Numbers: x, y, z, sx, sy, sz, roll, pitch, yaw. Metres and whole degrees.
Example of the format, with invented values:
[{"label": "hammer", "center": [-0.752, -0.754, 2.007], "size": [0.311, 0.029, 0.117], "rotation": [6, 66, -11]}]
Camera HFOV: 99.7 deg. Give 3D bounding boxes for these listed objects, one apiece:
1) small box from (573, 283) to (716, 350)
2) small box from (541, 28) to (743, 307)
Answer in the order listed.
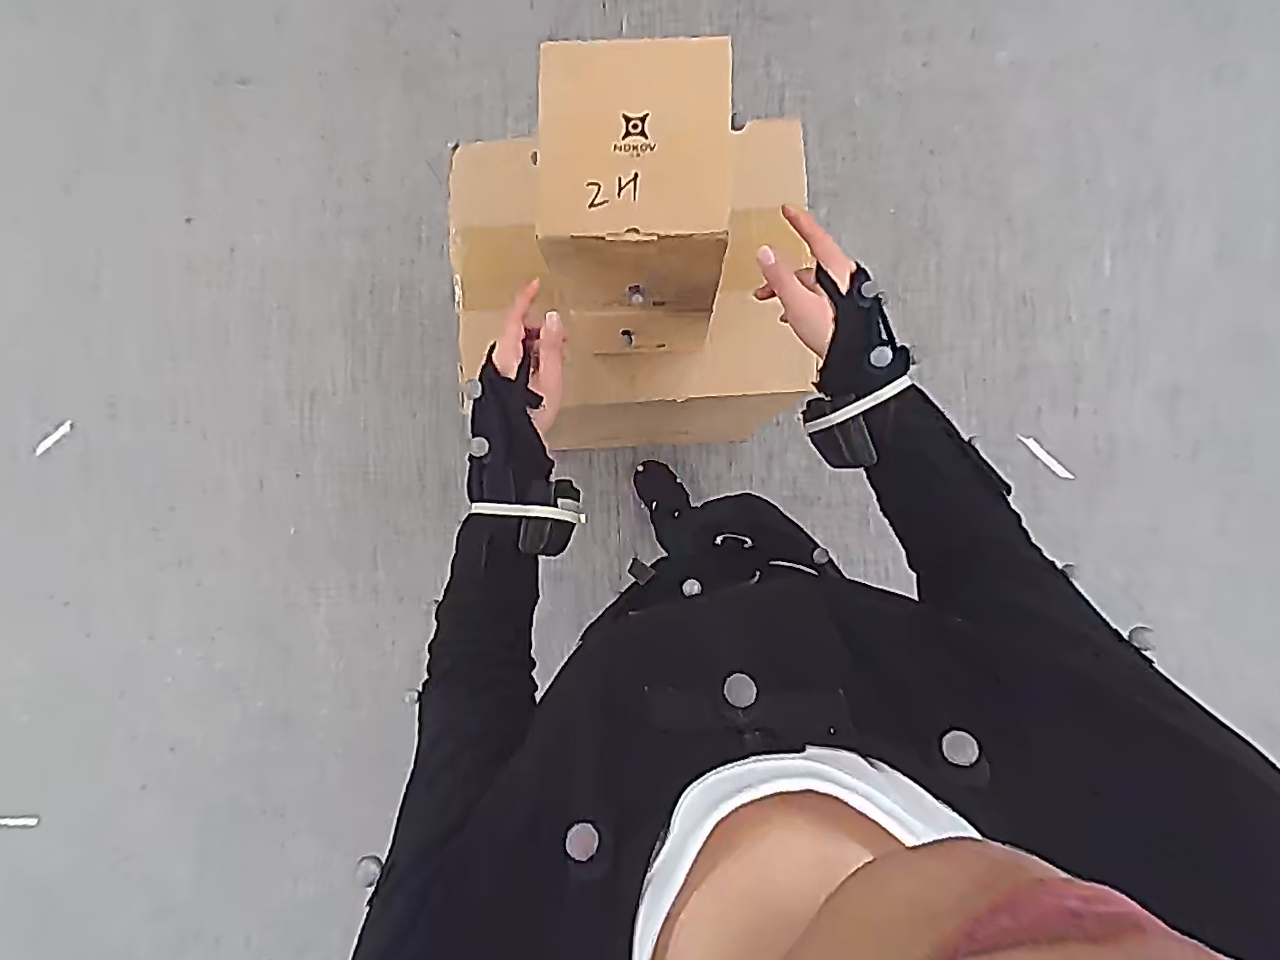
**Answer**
[{"label": "small box", "center": [0.009, -0.271, 0.691], "size": [0.168, 0.176, 0.179], "rotation": [-1, 87, 2]}, {"label": "small box", "center": [0.005, -0.286, 0.527], "size": [0.168, 0.176, 0.179], "rotation": [1, 87, 3]}]
